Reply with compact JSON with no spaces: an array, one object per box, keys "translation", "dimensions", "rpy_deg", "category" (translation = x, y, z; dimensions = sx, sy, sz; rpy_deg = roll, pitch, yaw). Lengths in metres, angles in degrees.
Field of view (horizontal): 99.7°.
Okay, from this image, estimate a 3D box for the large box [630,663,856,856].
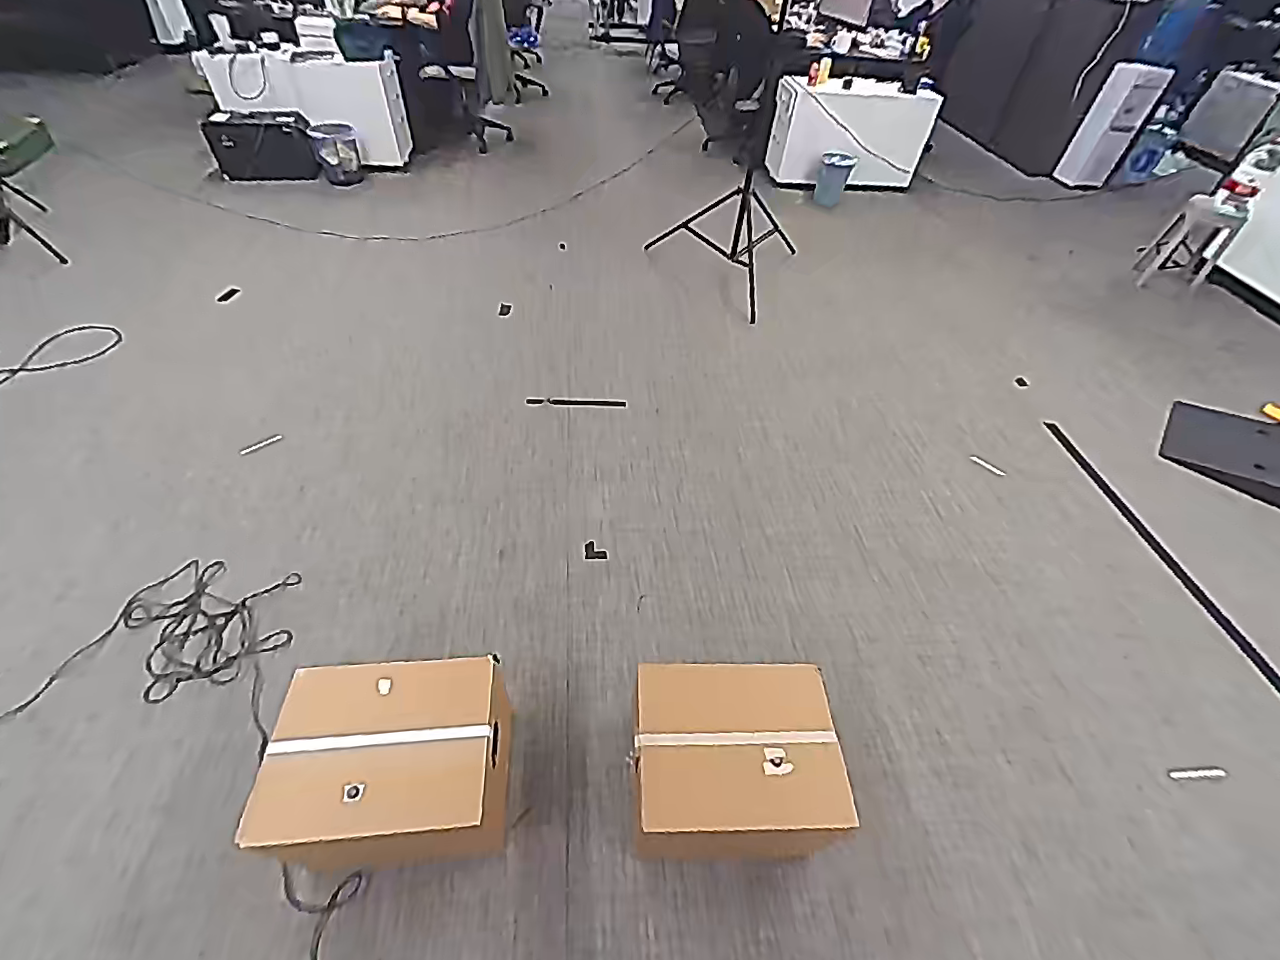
[{"translation":[0.191,0.619,1.200],"dimensions":[0.408,0.320,0.320],"rpy_deg":[2,48,-4],"category":"large box"}]
